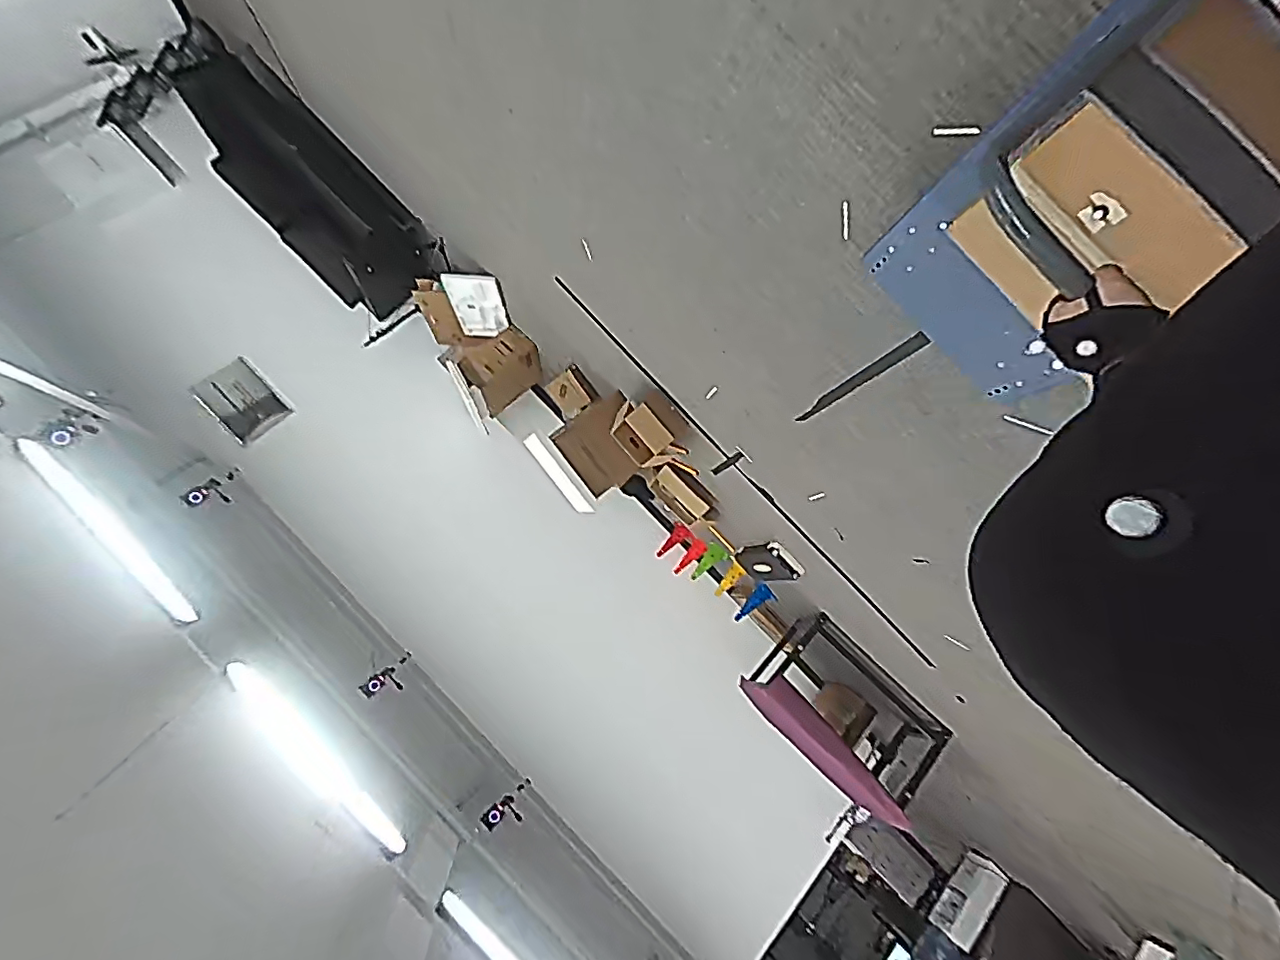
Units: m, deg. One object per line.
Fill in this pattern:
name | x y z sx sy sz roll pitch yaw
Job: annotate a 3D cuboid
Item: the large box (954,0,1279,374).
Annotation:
large box | 0.844 -0.459 0.885 0.408 0.320 0.320 47 164 1
